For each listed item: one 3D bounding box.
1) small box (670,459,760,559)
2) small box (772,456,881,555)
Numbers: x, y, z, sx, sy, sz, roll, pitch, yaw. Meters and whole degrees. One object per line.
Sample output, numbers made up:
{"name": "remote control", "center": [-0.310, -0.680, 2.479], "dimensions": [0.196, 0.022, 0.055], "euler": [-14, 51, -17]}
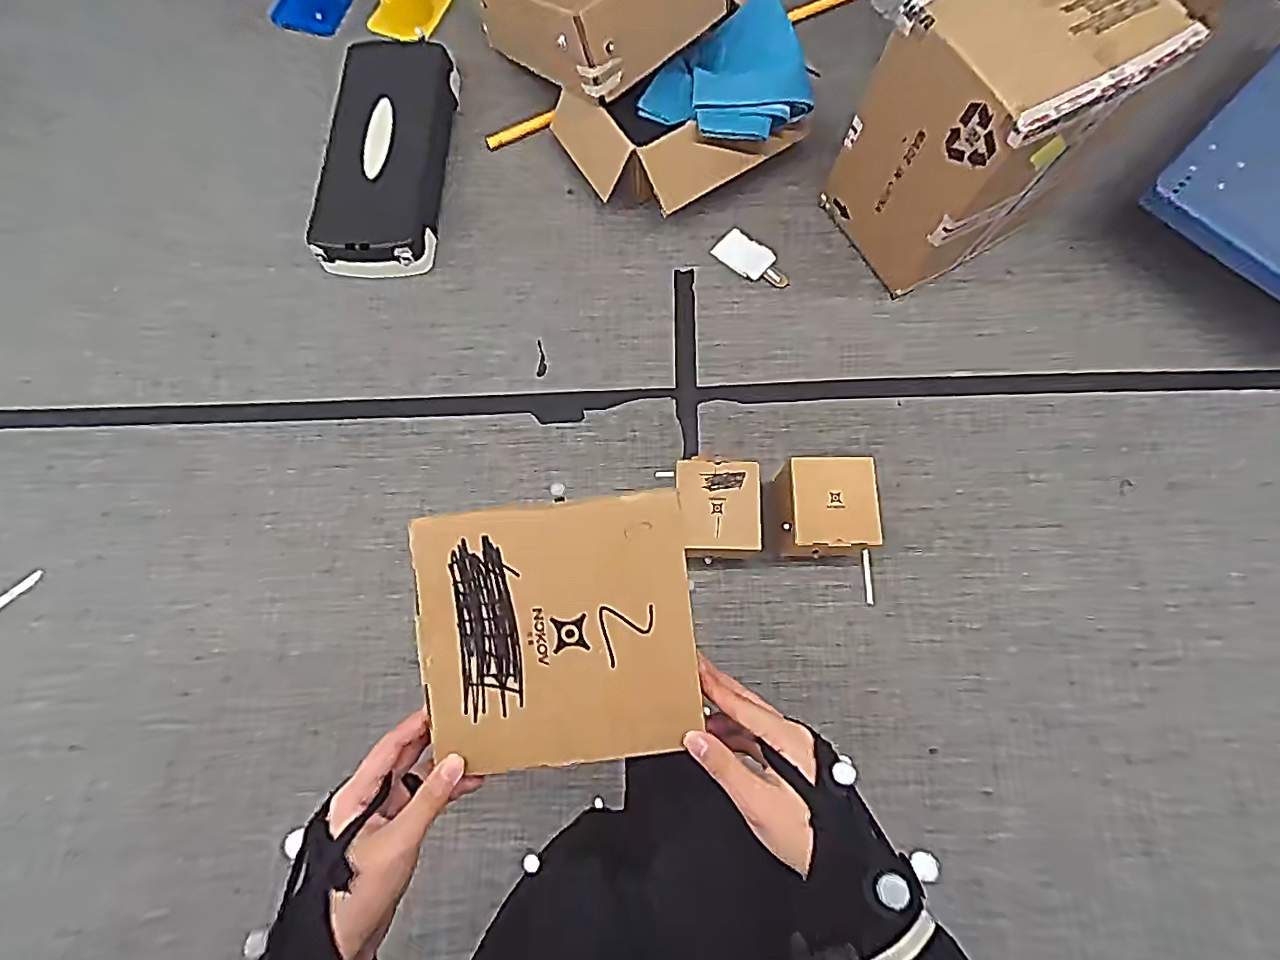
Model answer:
{"name": "small box", "center": [0.148, 0.065, 1.117], "dimensions": [0.168, 0.176, 0.179], "euler": [1, 76, 1]}
{"name": "small box", "center": [0.375, 0.057, 1.119], "dimensions": [0.168, 0.176, 0.179], "euler": [0, 76, 0]}
